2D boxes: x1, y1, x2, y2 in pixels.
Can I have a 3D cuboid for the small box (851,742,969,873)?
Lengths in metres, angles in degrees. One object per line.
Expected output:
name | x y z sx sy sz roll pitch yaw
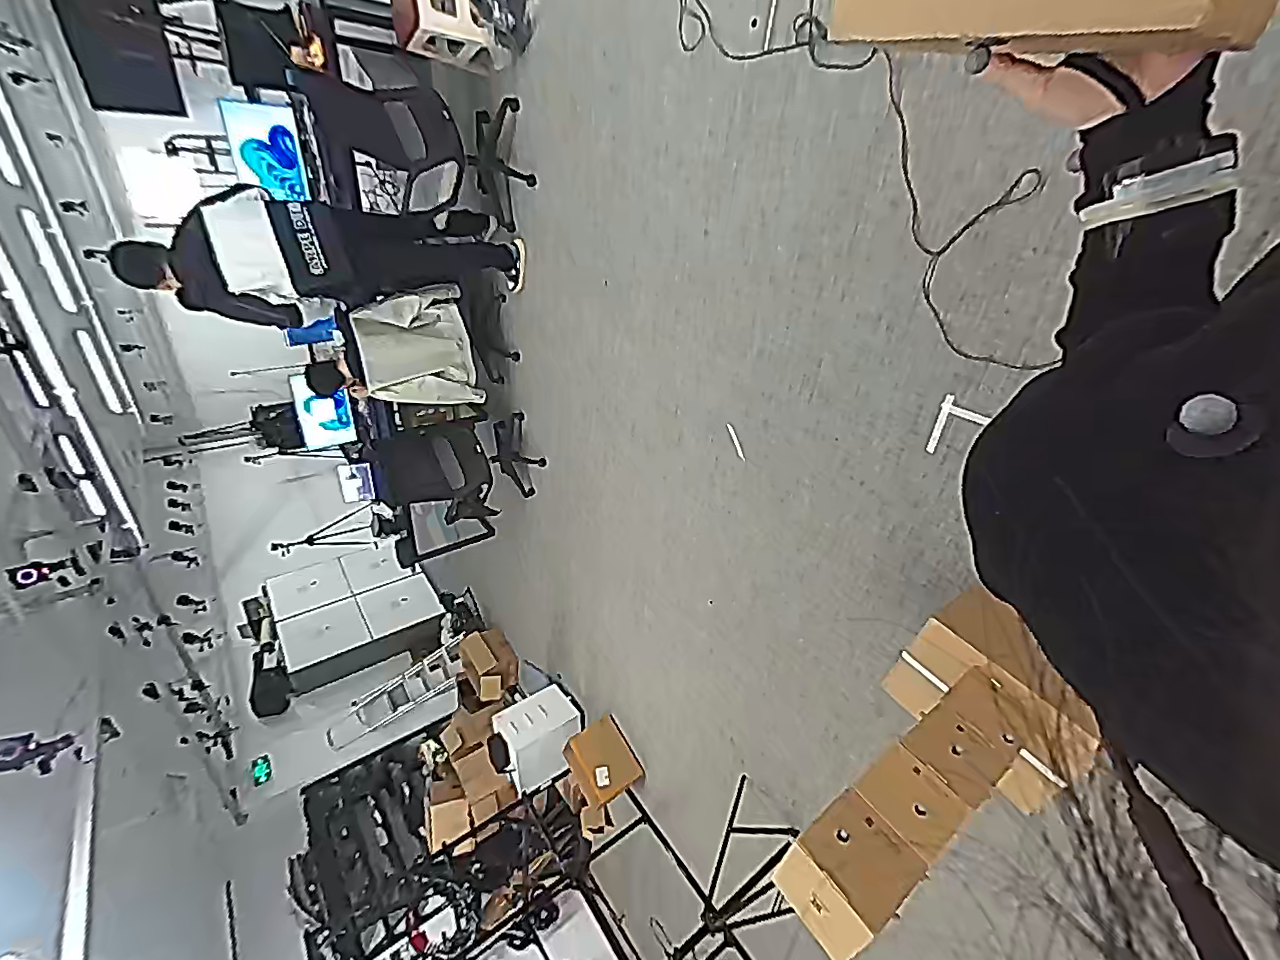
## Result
small box | 0.507 0.658 1.062 0.168 0.176 0.179 40 136 38

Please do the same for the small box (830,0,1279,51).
small box | 0.230 -0.318 0.263 0.179 0.176 0.168 34 138 36

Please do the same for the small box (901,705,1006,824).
small box | 0.638 0.619 1.152 0.168 0.176 0.179 43 137 37

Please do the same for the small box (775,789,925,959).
small box | 0.378 0.706 0.976 0.168 0.176 0.179 41 138 39
